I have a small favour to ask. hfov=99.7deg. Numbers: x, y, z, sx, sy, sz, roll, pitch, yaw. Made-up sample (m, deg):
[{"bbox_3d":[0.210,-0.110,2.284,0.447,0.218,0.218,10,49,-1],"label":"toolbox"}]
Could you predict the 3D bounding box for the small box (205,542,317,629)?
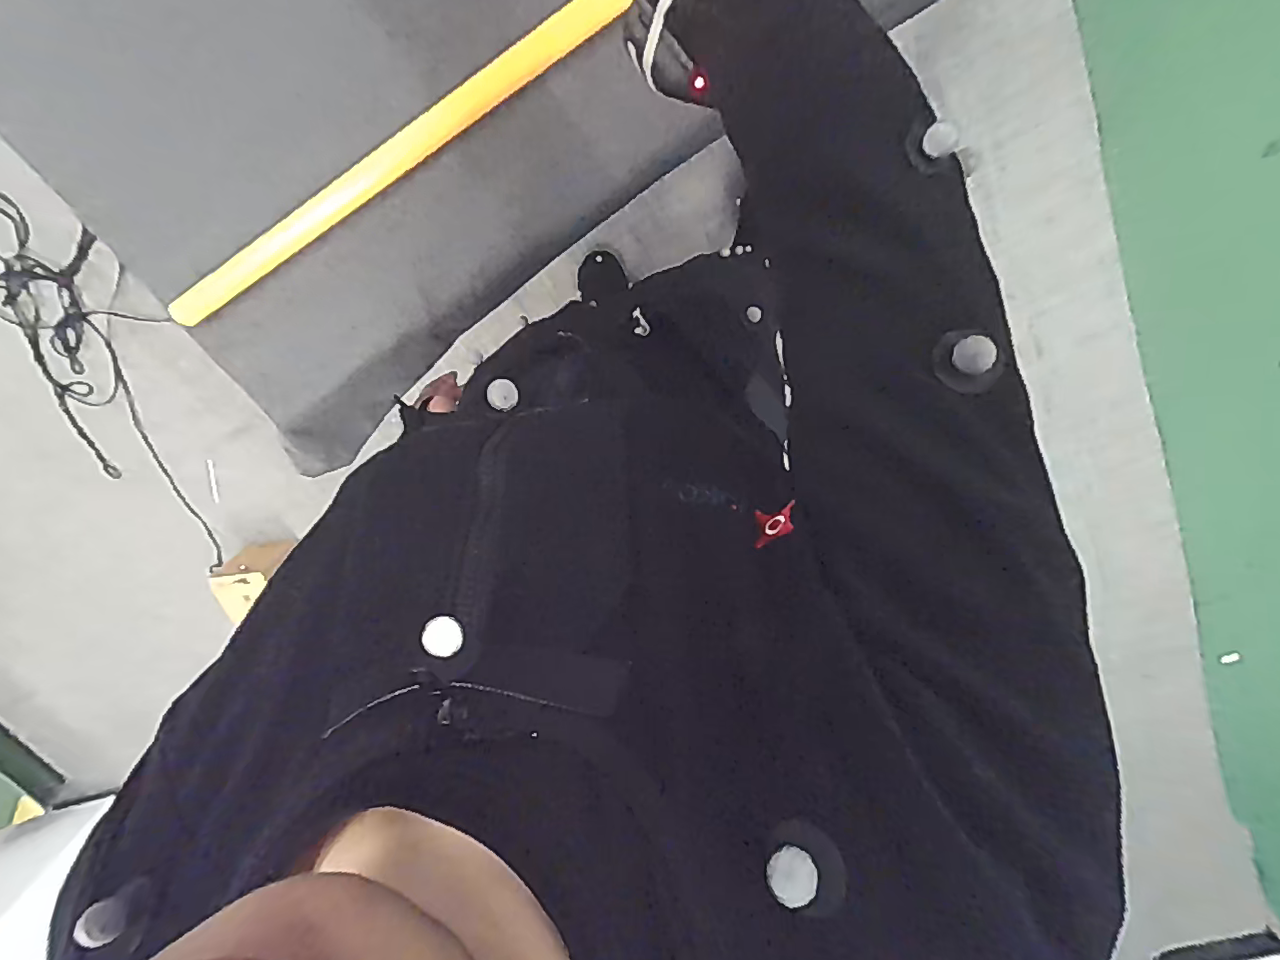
[{"bbox_3d":[-1.070,0.300,1.549,0.168,0.176,0.179,-7,116,6],"label":"small box"}]
